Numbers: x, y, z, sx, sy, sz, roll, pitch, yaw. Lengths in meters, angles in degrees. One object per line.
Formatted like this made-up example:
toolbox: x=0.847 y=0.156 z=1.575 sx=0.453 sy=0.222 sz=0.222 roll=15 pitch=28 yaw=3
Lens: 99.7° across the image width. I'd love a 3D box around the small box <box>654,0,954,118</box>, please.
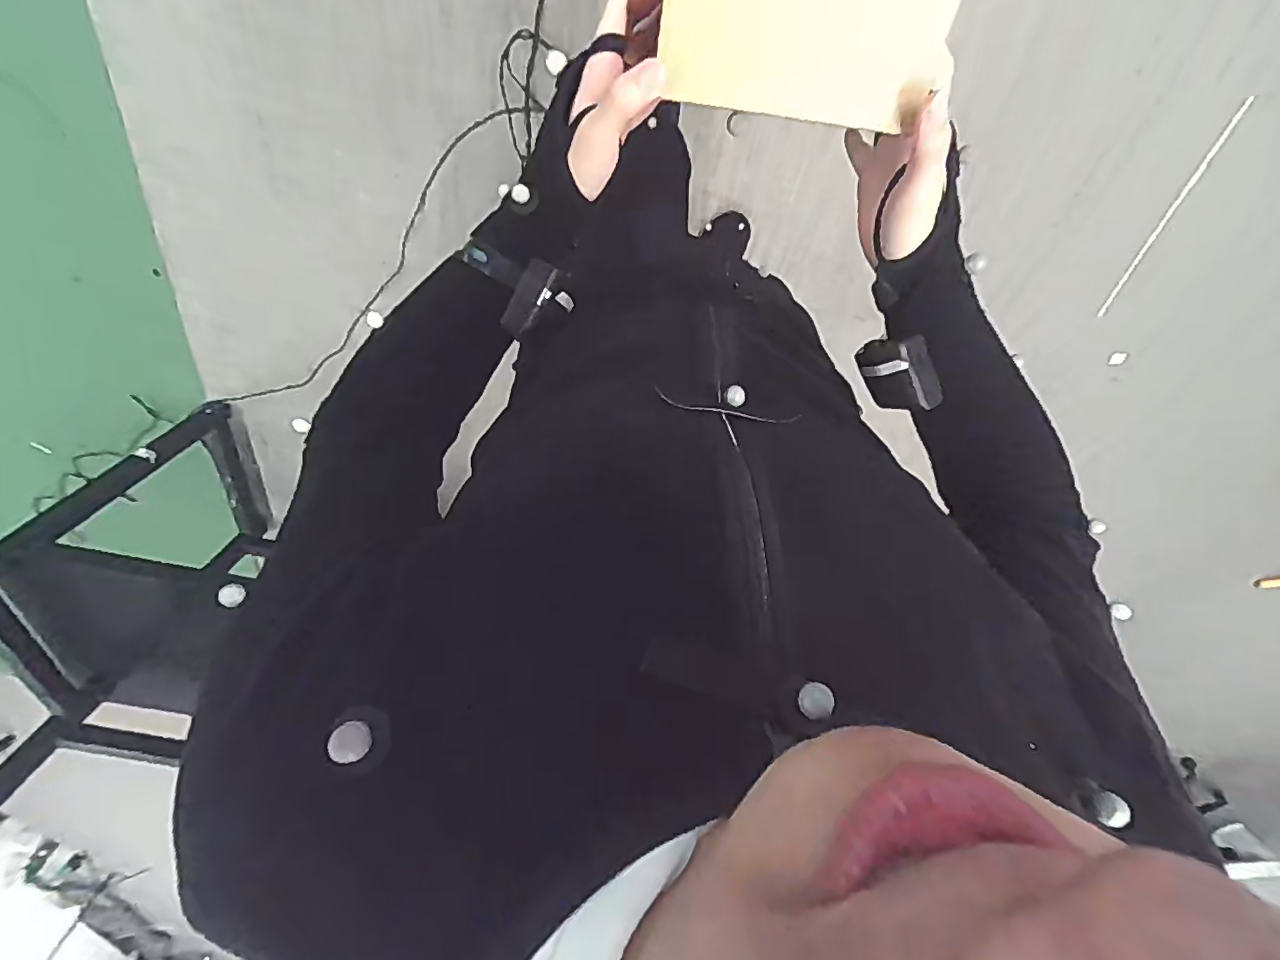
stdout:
small box: x=0.106 y=-0.349 z=0.348 sx=0.168 sy=0.176 sz=0.179 roll=8 pitch=124 yaw=1
